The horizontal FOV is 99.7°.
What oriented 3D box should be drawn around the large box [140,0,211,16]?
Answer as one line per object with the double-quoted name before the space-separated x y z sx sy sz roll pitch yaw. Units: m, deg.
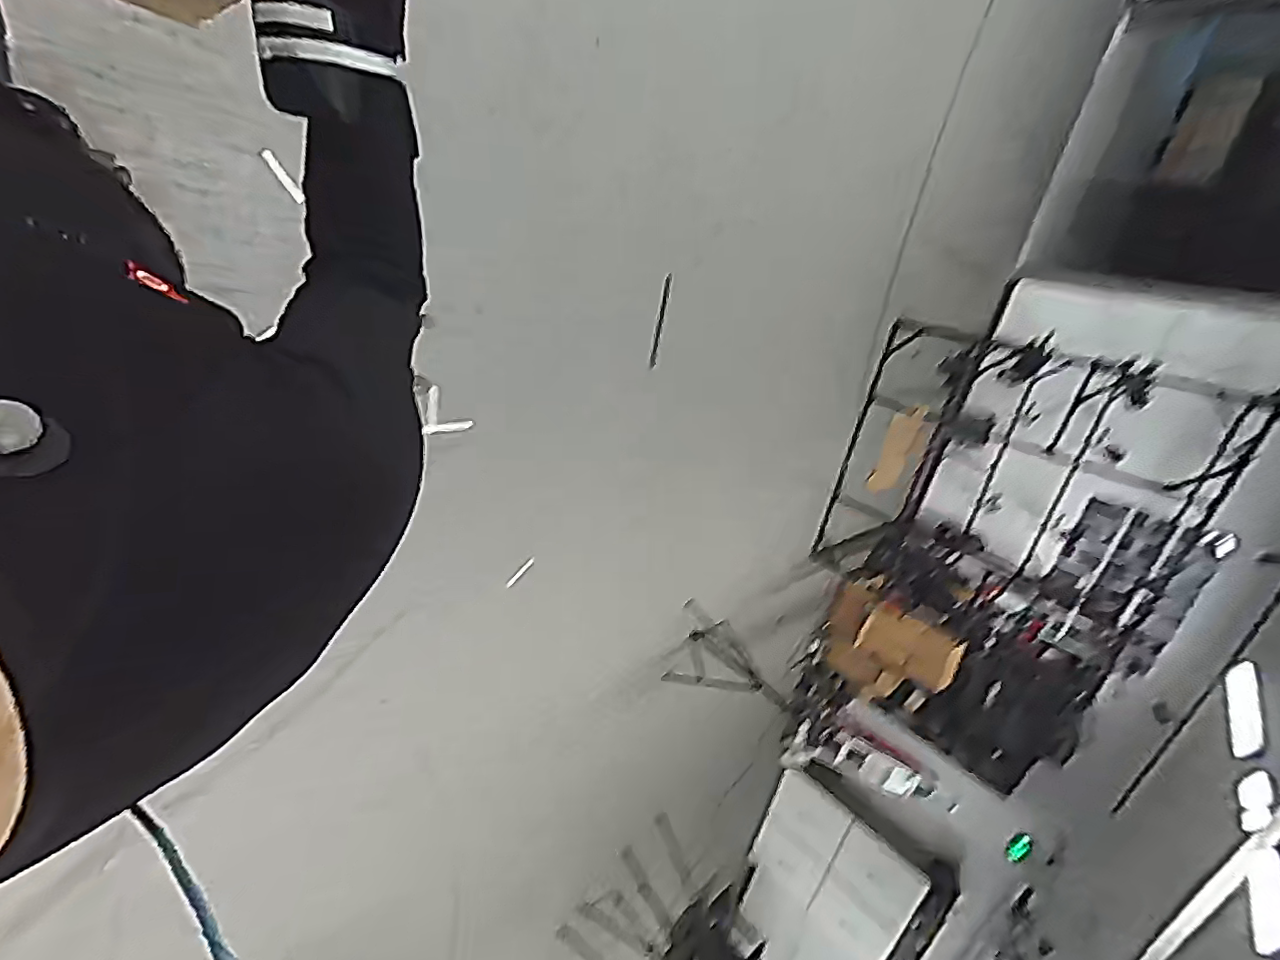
"large box" -0.415 -0.483 0.217 0.408 0.320 0.320 -8 121 -46
